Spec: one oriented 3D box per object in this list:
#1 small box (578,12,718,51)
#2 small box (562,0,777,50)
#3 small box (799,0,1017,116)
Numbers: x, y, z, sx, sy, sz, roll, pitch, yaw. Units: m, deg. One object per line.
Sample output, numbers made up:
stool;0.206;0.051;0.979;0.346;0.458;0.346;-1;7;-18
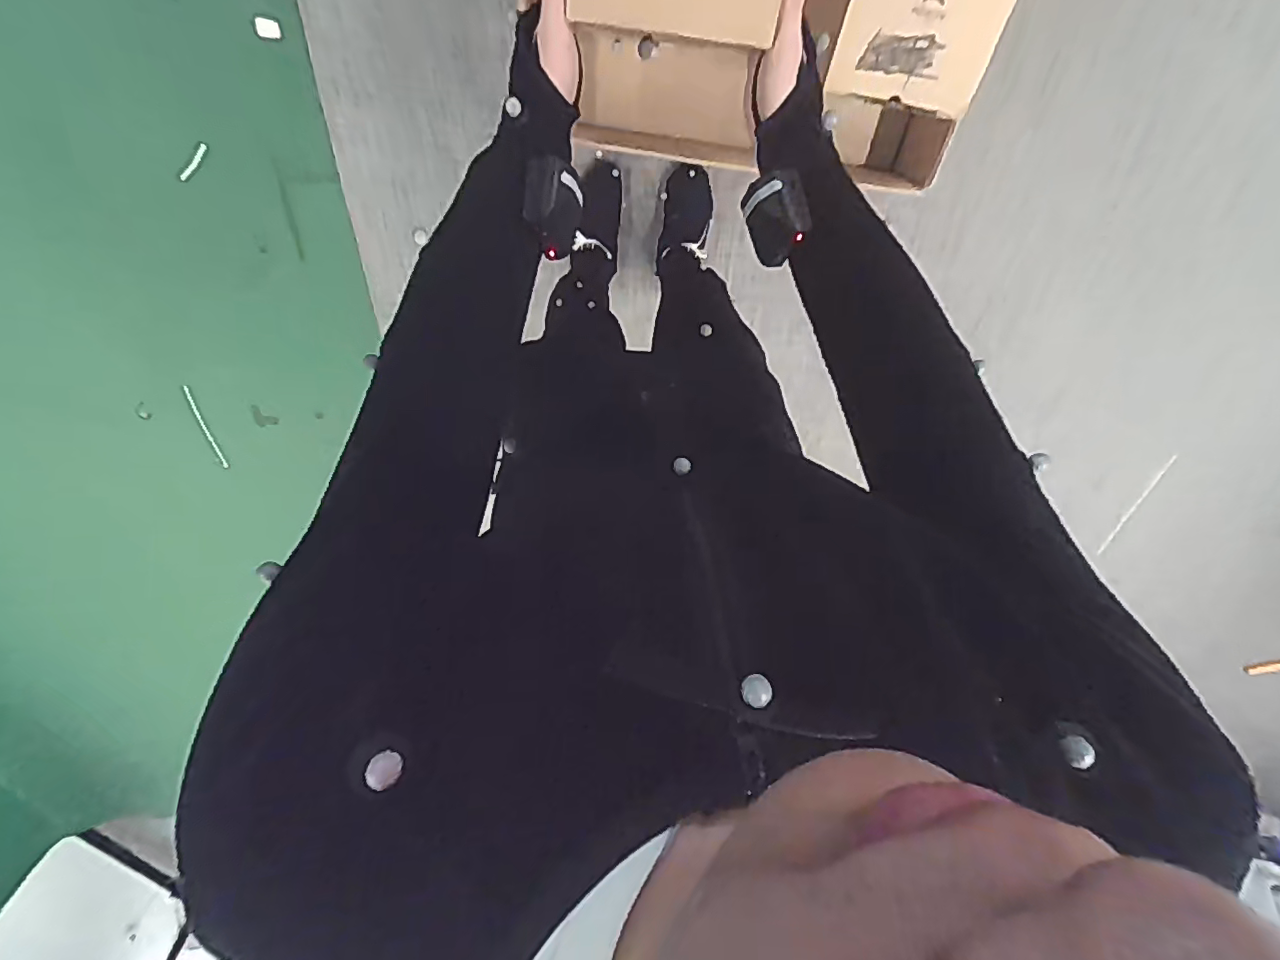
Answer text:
small box;0.029;-0.565;0.555;0.168;0.176;0.179;6;128;-4
small box;0.031;-0.464;0.427;0.168;0.176;0.179;6;127;-3
small box;0.287;-0.522;0.587;0.168;0.176;0.179;8;128;-5
